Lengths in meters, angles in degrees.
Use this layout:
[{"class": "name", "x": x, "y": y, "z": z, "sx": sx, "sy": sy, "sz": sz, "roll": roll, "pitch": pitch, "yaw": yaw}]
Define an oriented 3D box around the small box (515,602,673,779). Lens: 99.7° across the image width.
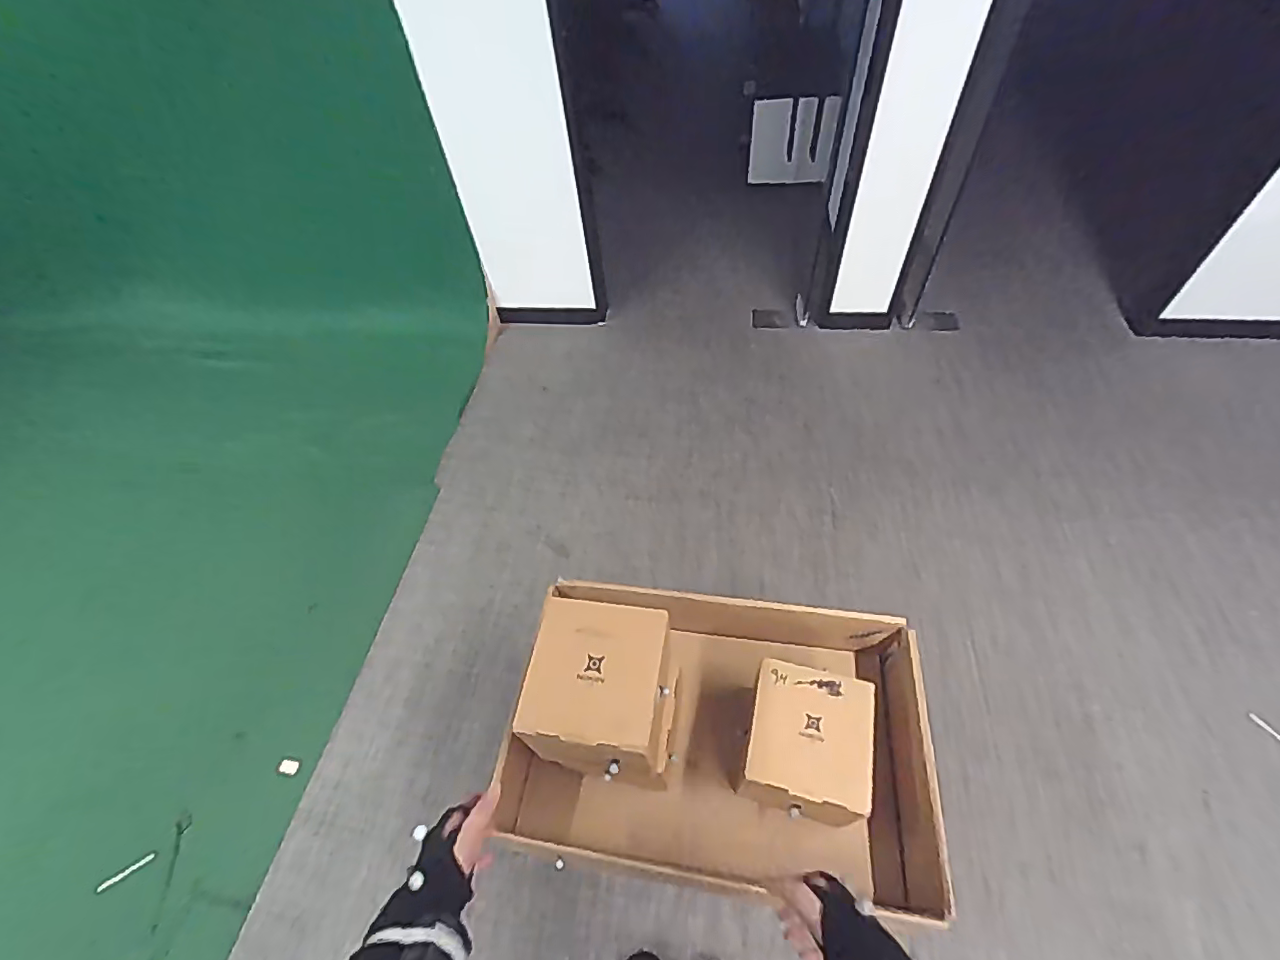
[{"class": "small box", "x": -0.048, "y": 0.291, "z": 0.739, "sx": 0.168, "sy": 0.176, "sz": 0.179, "roll": 5, "pitch": 53, "yaw": 10}]
